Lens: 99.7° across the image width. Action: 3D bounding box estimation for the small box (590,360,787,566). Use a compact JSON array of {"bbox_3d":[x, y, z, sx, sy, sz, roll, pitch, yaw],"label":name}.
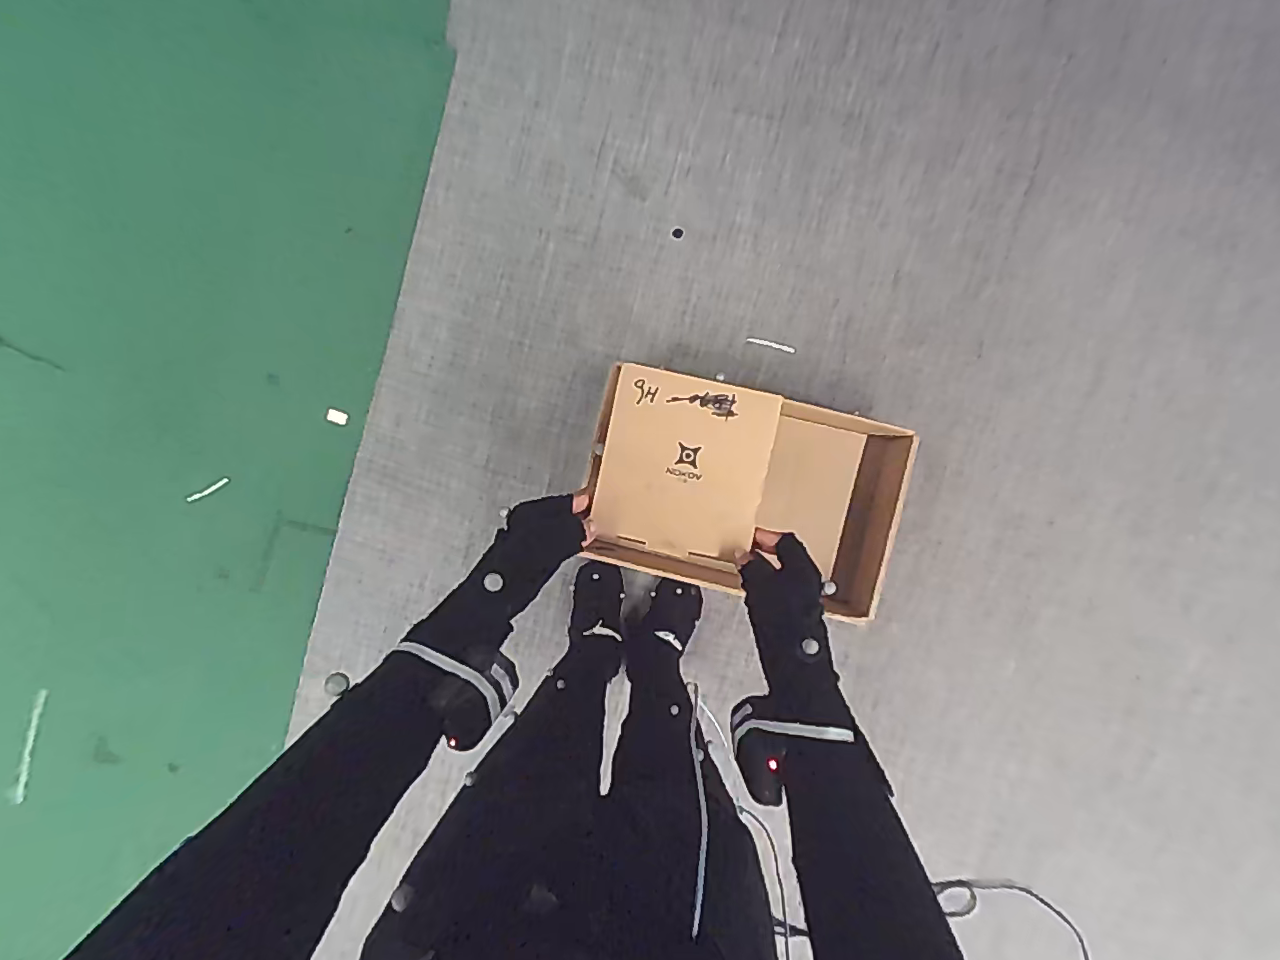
[{"bbox_3d":[0.047,-0.020,0.610,0.168,0.176,0.179,12,92,-1],"label":"small box"}]
